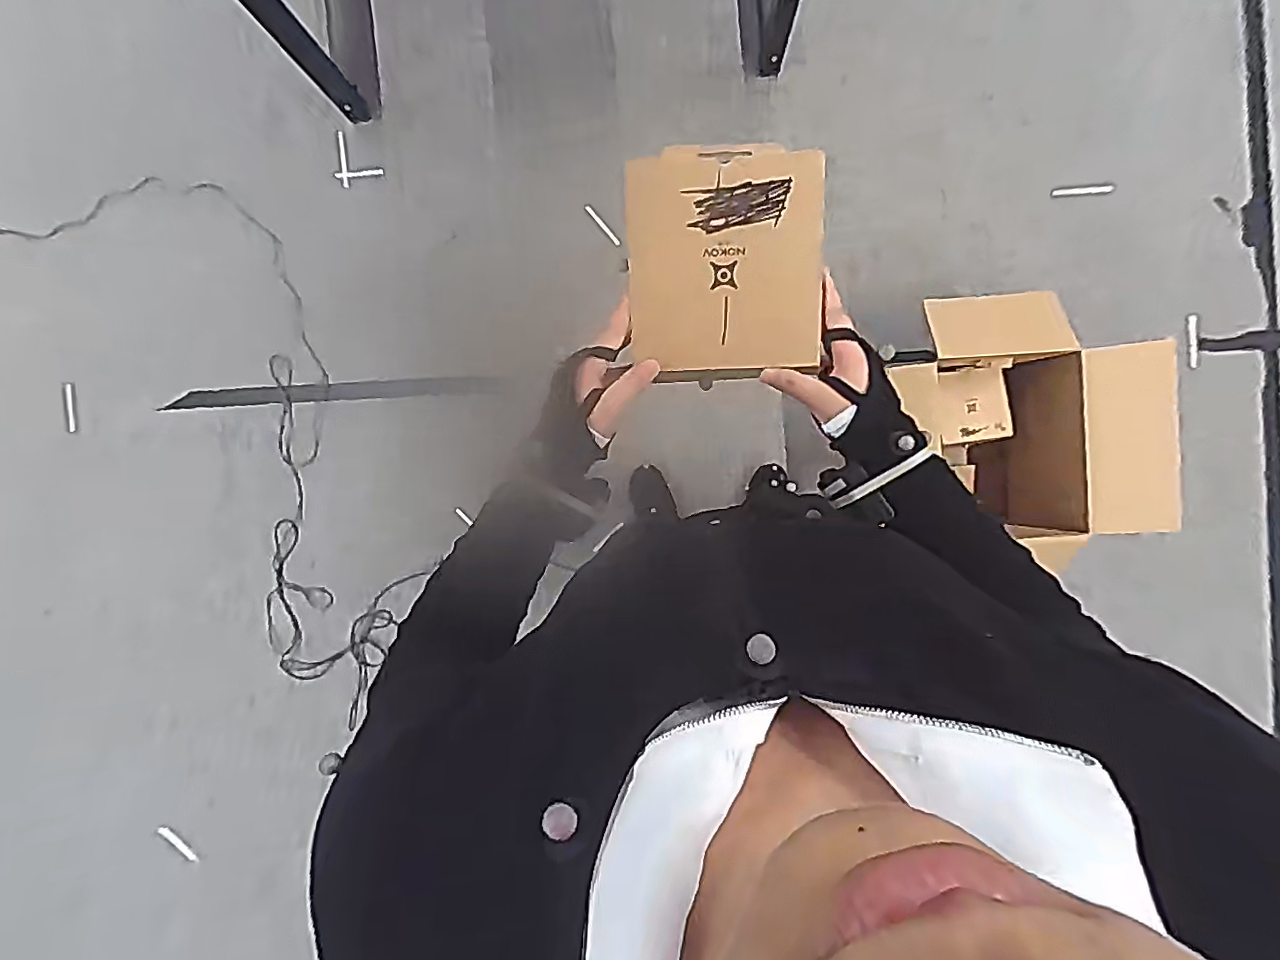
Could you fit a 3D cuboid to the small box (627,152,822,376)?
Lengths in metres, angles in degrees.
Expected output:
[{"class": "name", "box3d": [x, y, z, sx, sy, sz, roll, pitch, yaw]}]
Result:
[{"class": "small box", "box3d": [0.070, -0.195, 0.536, 0.168, 0.176, 0.179, -1, 100, 1]}]
